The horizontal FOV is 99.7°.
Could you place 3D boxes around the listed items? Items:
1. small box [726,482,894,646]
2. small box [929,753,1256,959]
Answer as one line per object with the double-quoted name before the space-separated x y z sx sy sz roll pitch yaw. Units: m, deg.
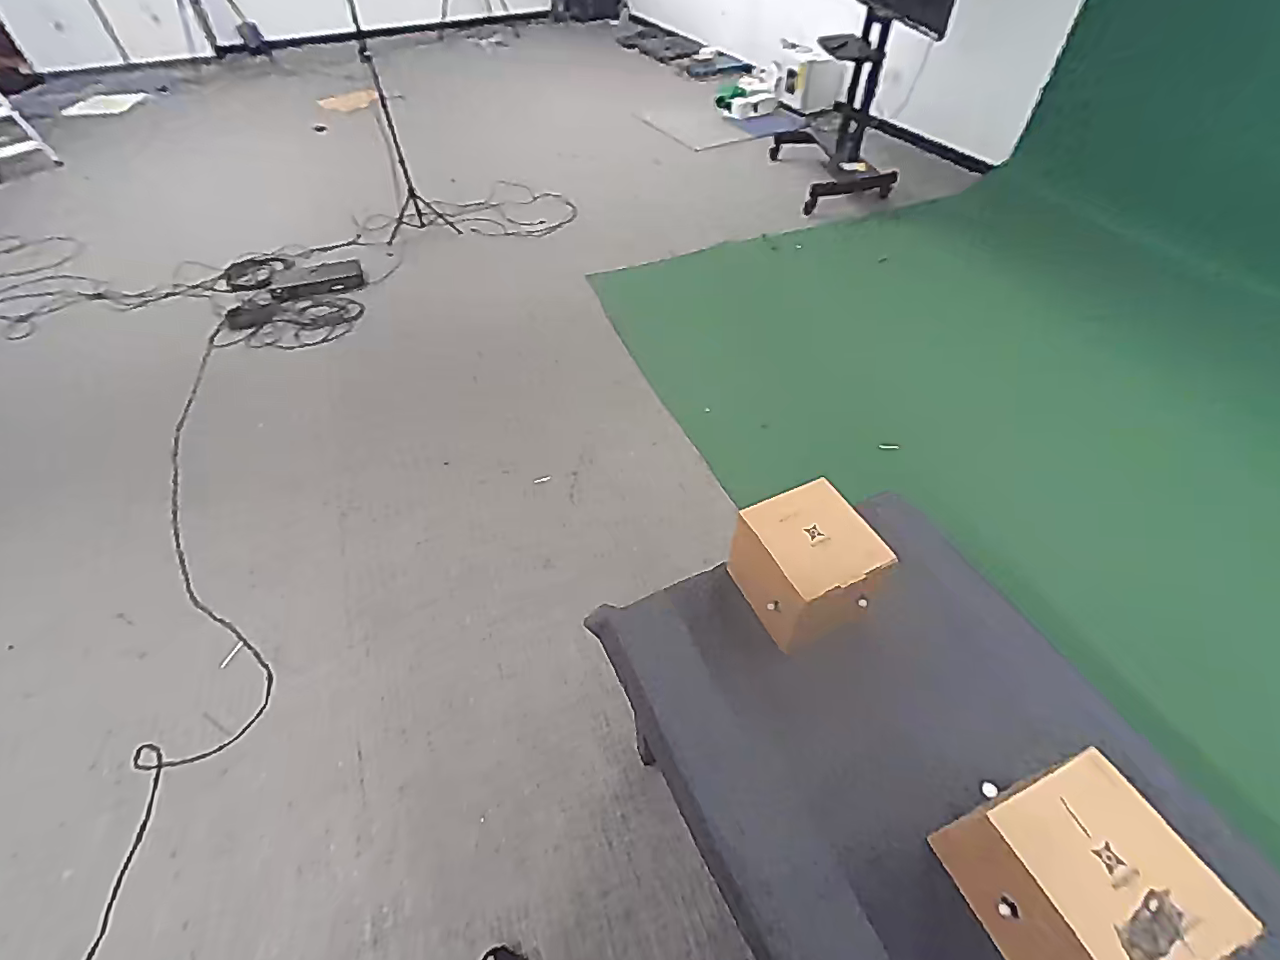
"small box" 0.255 0.139 0.857 0.168 0.176 0.179 -19 50 -18
"small box" 0.465 0.439 0.591 0.168 0.176 0.179 -17 50 -16
